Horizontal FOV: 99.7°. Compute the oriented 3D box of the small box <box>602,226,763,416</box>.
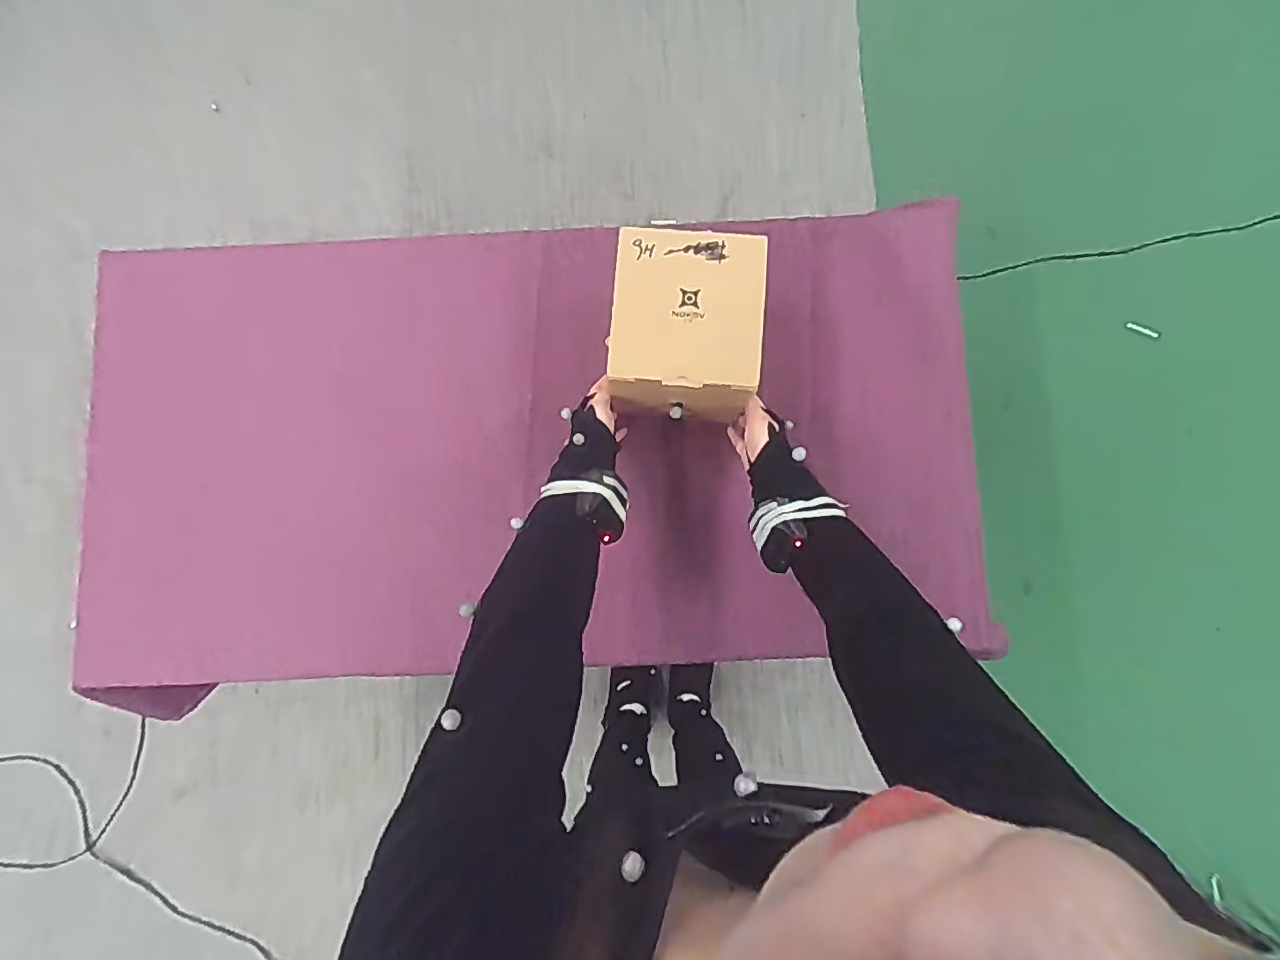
[{"bbox_3d":[0.049,-0.181,0.666,0.168,0.176,0.179,4,85,2],"label":"small box"}]
